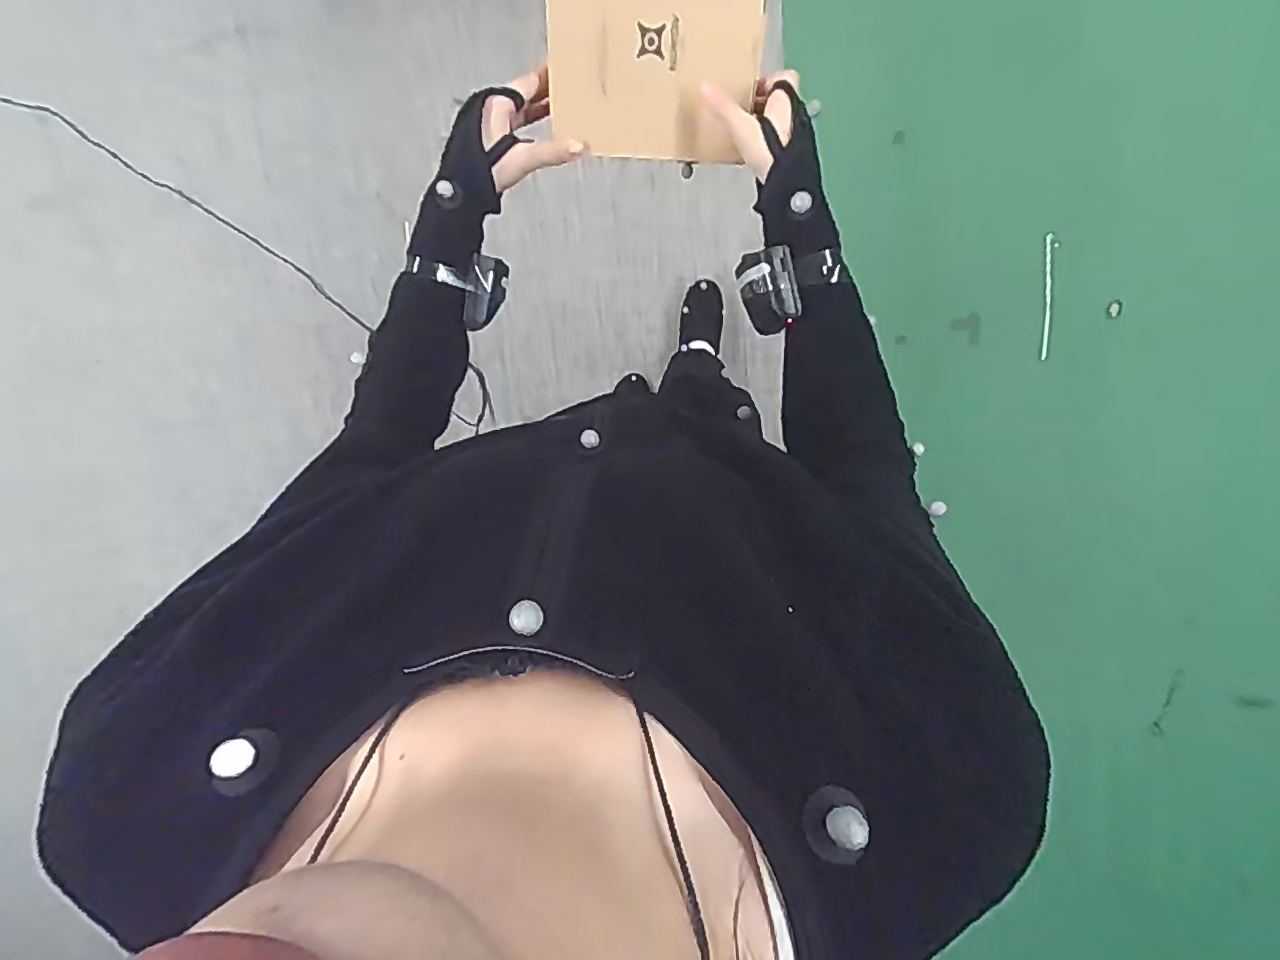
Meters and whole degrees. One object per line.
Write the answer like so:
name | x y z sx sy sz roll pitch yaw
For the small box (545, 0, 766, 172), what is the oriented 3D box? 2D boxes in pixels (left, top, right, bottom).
small box | 0.005 -0.389 0.502 0.179 0.176 0.168 1 121 -5
